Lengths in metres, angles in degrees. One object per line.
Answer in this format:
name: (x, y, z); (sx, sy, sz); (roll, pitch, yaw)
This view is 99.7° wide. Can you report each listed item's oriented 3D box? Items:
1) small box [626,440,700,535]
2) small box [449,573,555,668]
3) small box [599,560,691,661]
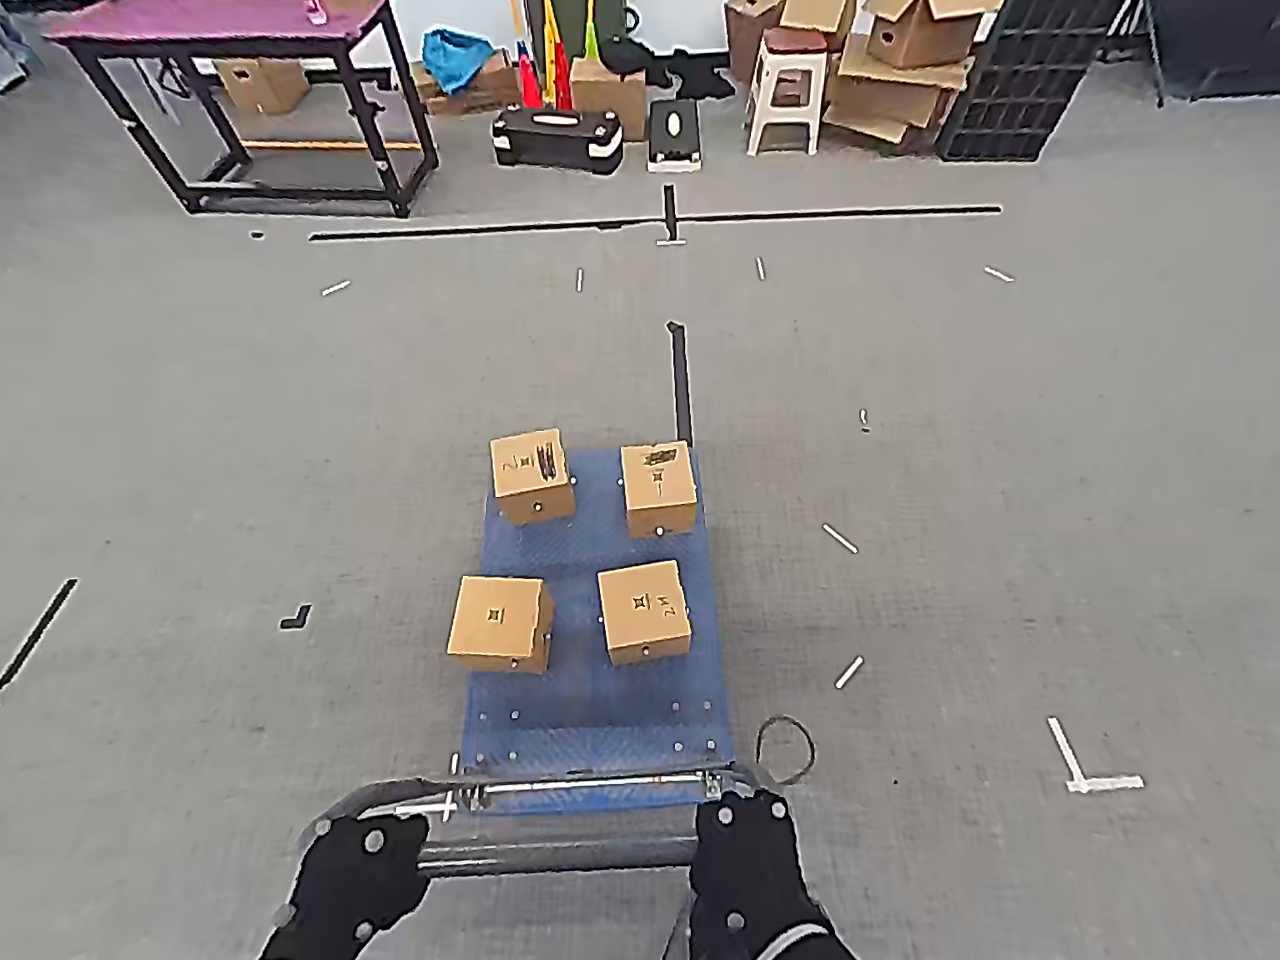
small box: (0.053, 0.022, 1.352); (0.168, 0.176, 0.179); (-6, 61, -1)
small box: (-0.295, 0.315, 1.197); (0.179, 0.176, 0.168); (3, 61, 1)
small box: (0.012, 0.294, 1.199); (0.179, 0.176, 0.168); (-8, 61, -3)
